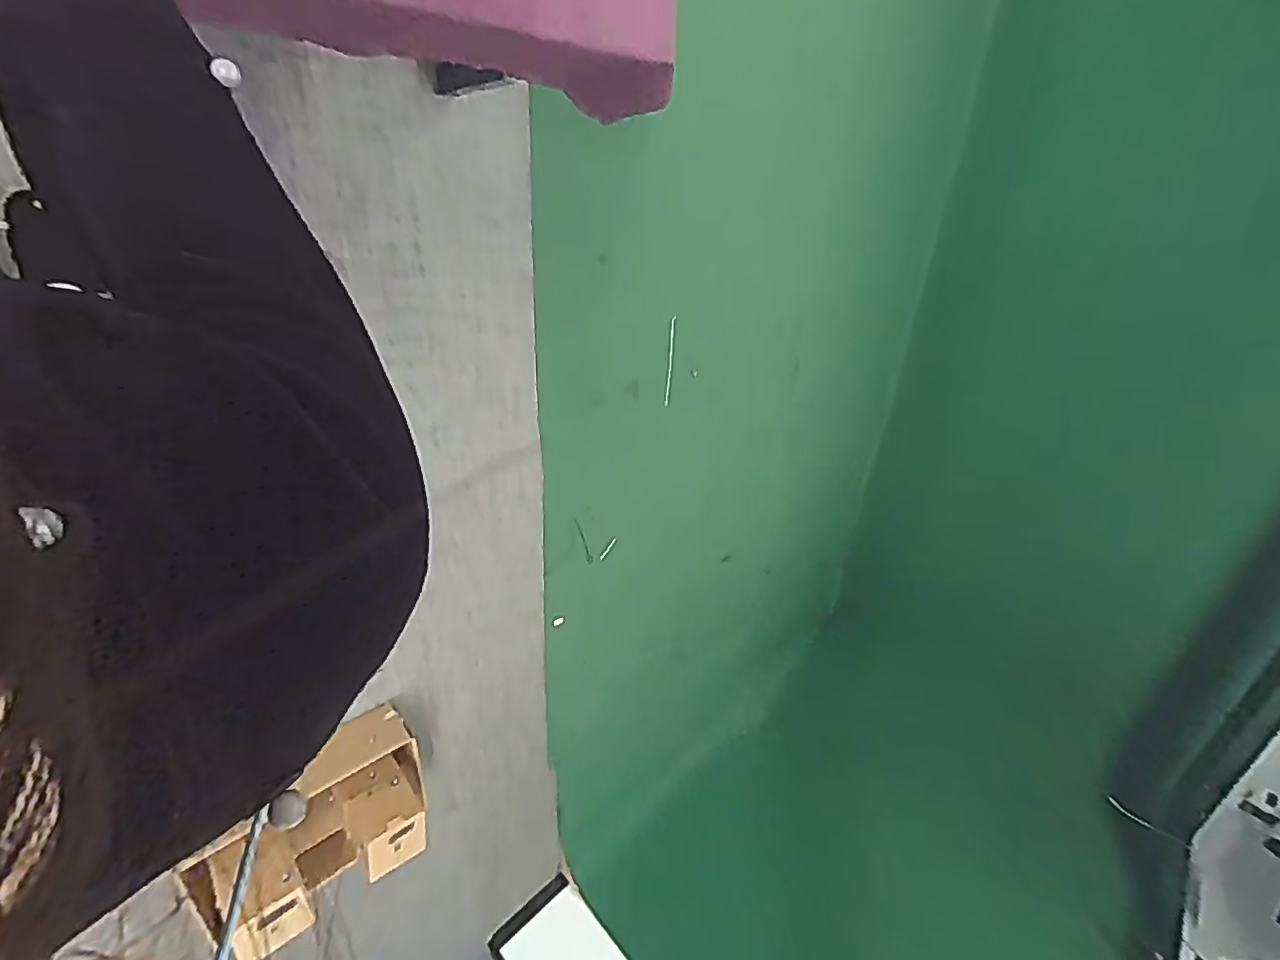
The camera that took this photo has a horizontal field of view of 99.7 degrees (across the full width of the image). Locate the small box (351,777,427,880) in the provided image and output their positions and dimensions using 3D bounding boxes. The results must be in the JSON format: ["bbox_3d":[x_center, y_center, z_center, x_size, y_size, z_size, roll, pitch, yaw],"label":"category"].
[{"bbox_3d":[-0.765,1.044,1.643,0.168,0.176,0.179,-13,121,-42],"label":"small box"}]
